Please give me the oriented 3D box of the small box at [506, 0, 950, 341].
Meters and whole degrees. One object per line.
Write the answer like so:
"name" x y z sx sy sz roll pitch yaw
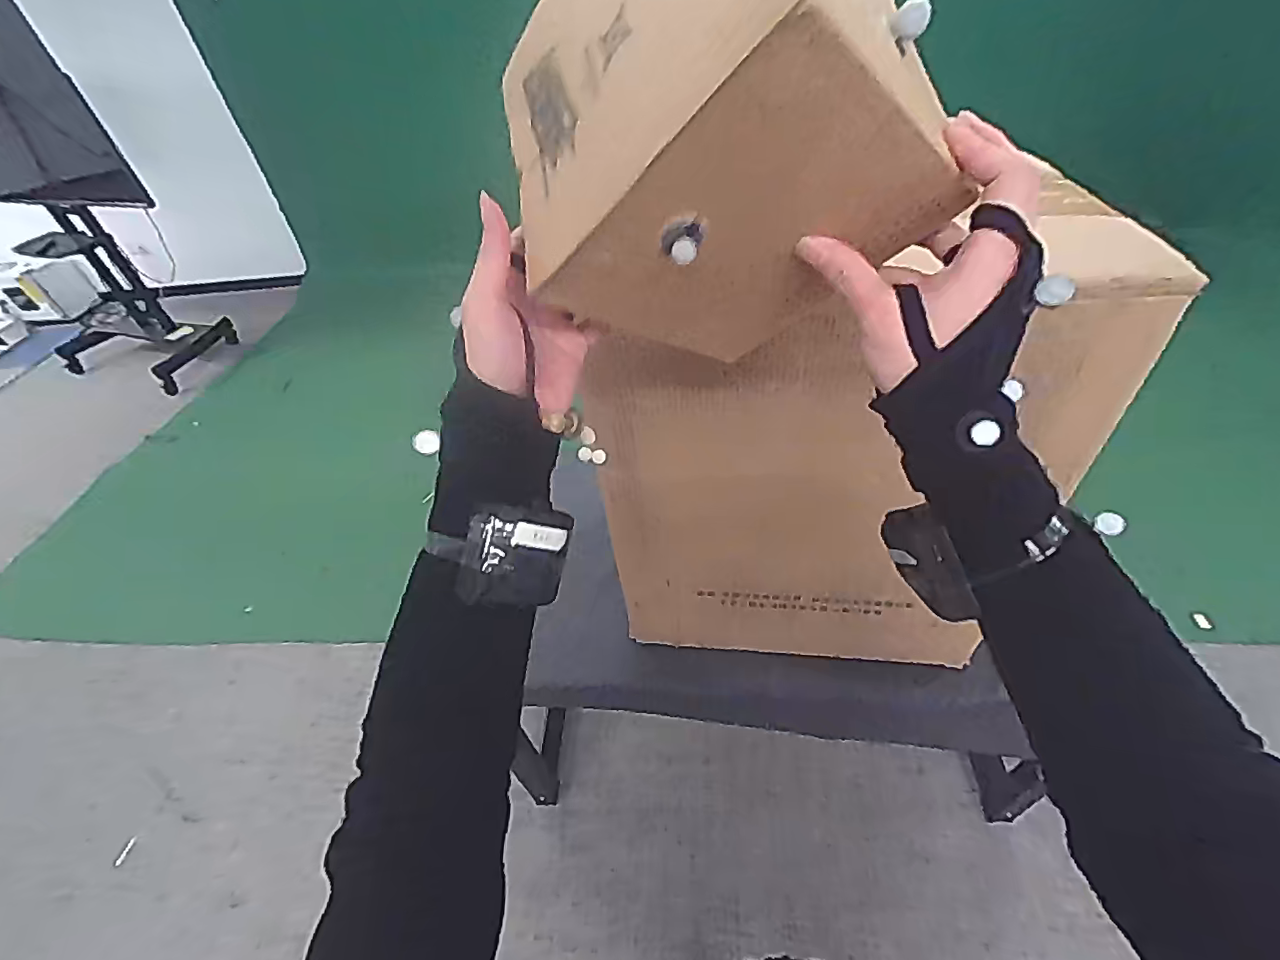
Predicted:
"small box" 0.042 -0.202 0.315 0.176 0.179 0.168 4 72 -42
